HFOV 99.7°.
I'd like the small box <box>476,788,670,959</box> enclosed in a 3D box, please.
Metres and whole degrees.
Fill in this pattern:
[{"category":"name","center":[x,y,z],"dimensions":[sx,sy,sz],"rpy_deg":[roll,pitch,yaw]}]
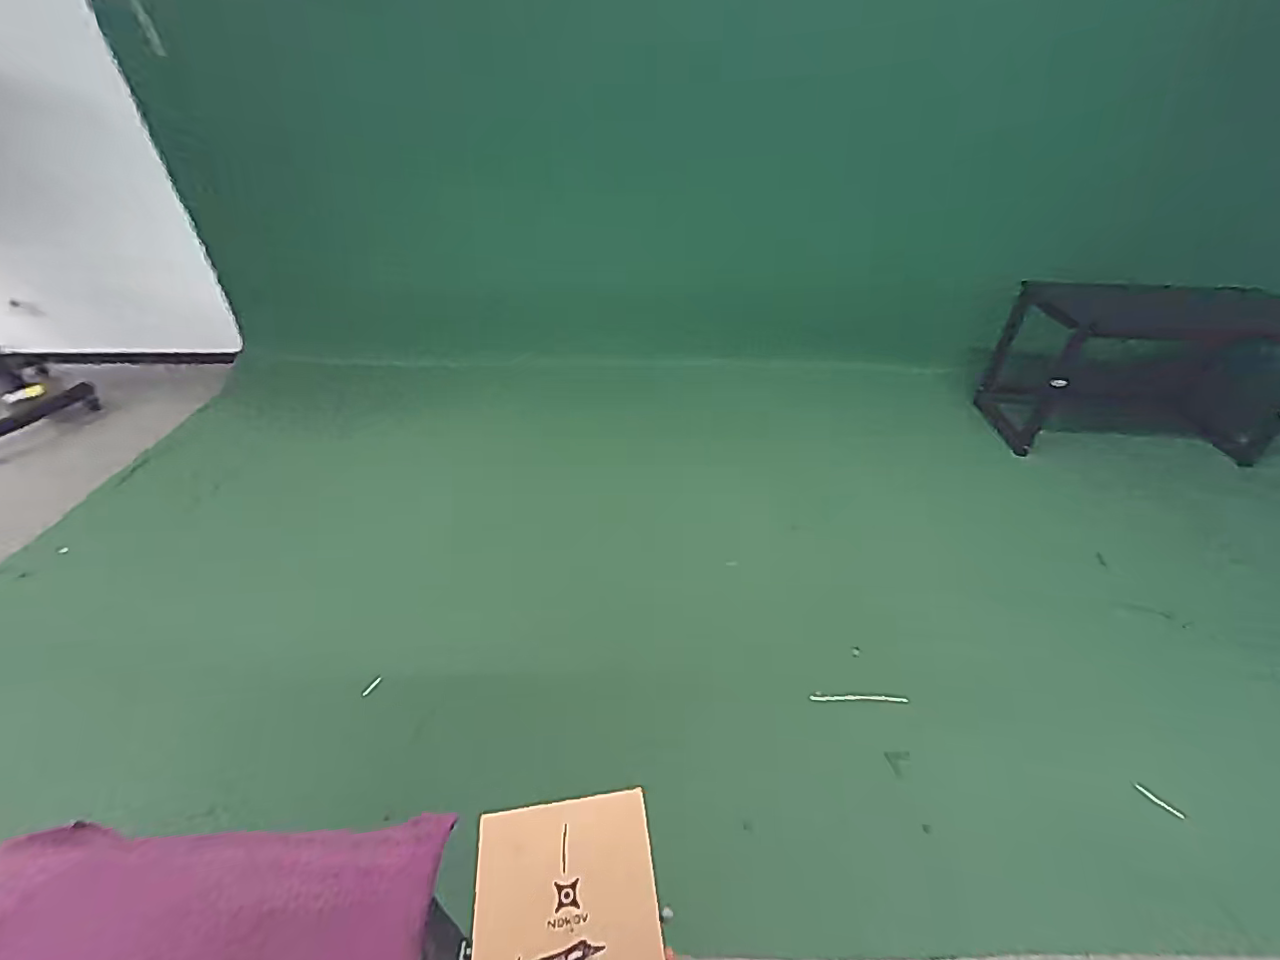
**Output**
[{"category":"small box","center":[-0.058,0.436,0.534],"dimensions":[0.168,0.176,0.179],"rpy_deg":[-6,42,-4]}]
